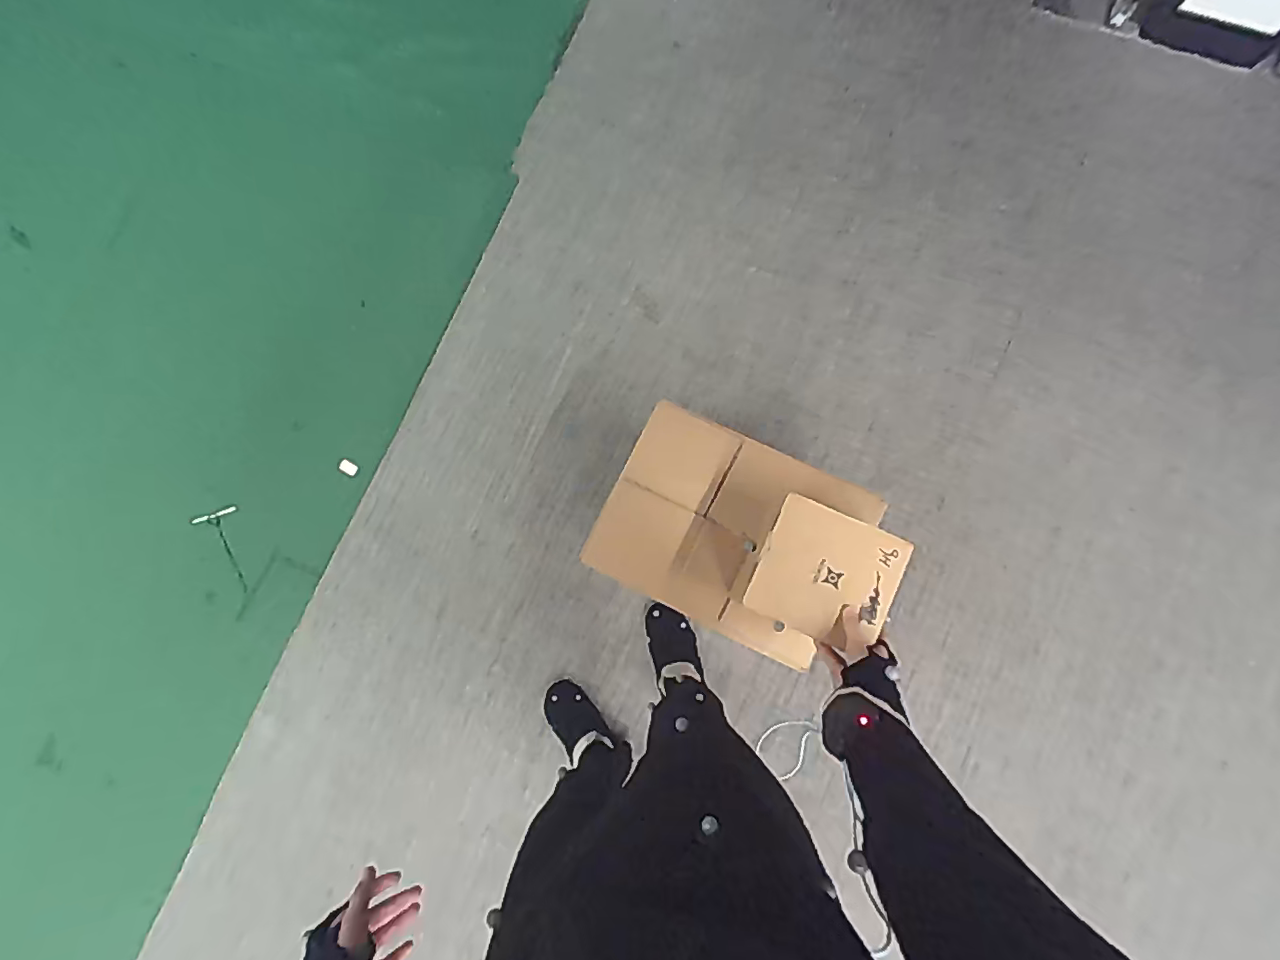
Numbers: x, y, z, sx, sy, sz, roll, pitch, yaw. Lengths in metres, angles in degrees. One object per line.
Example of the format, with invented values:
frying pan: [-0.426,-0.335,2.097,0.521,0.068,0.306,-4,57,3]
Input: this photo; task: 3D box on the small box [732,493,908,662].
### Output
small box: [0.242,0.137,0.777,0.179,0.176,0.168,24,84,9]
